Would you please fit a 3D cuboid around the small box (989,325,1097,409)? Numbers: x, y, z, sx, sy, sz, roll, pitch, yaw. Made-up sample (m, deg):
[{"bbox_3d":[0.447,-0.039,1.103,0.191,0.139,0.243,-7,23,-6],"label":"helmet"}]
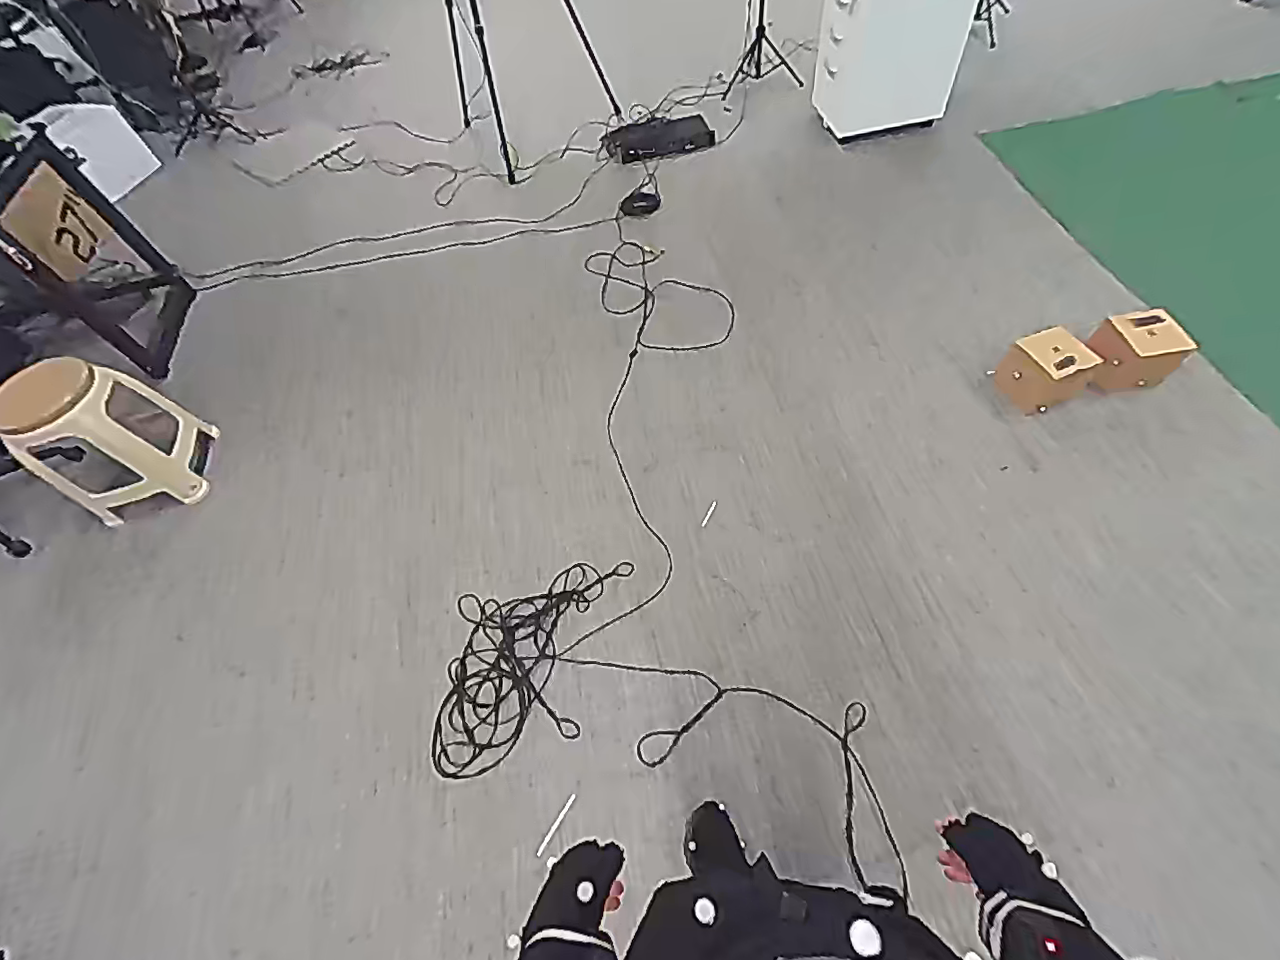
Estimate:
[{"bbox_3d":[1.237,-0.341,1.674,0.168,0.176,0.179,-19,57,-5],"label":"small box"}]
